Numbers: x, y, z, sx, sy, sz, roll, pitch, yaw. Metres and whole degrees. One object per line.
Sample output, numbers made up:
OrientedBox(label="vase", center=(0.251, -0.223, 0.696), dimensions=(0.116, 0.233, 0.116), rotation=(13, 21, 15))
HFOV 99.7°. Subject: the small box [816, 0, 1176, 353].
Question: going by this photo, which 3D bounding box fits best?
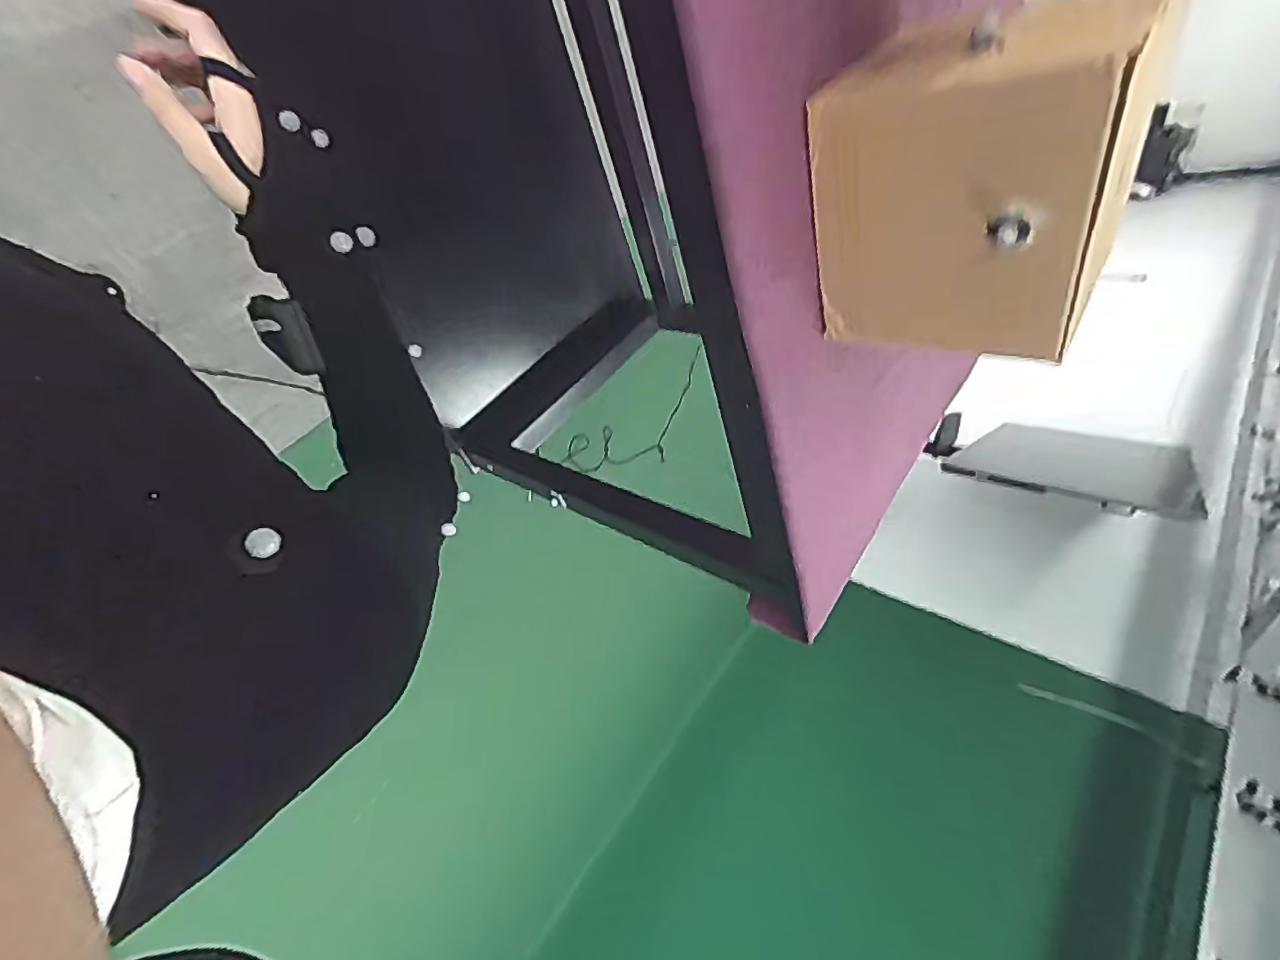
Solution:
OrientedBox(label="small box", center=(0.240, -0.214, 0.390), dimensions=(0.168, 0.176, 0.179), rotation=(-47, 136, -27))
